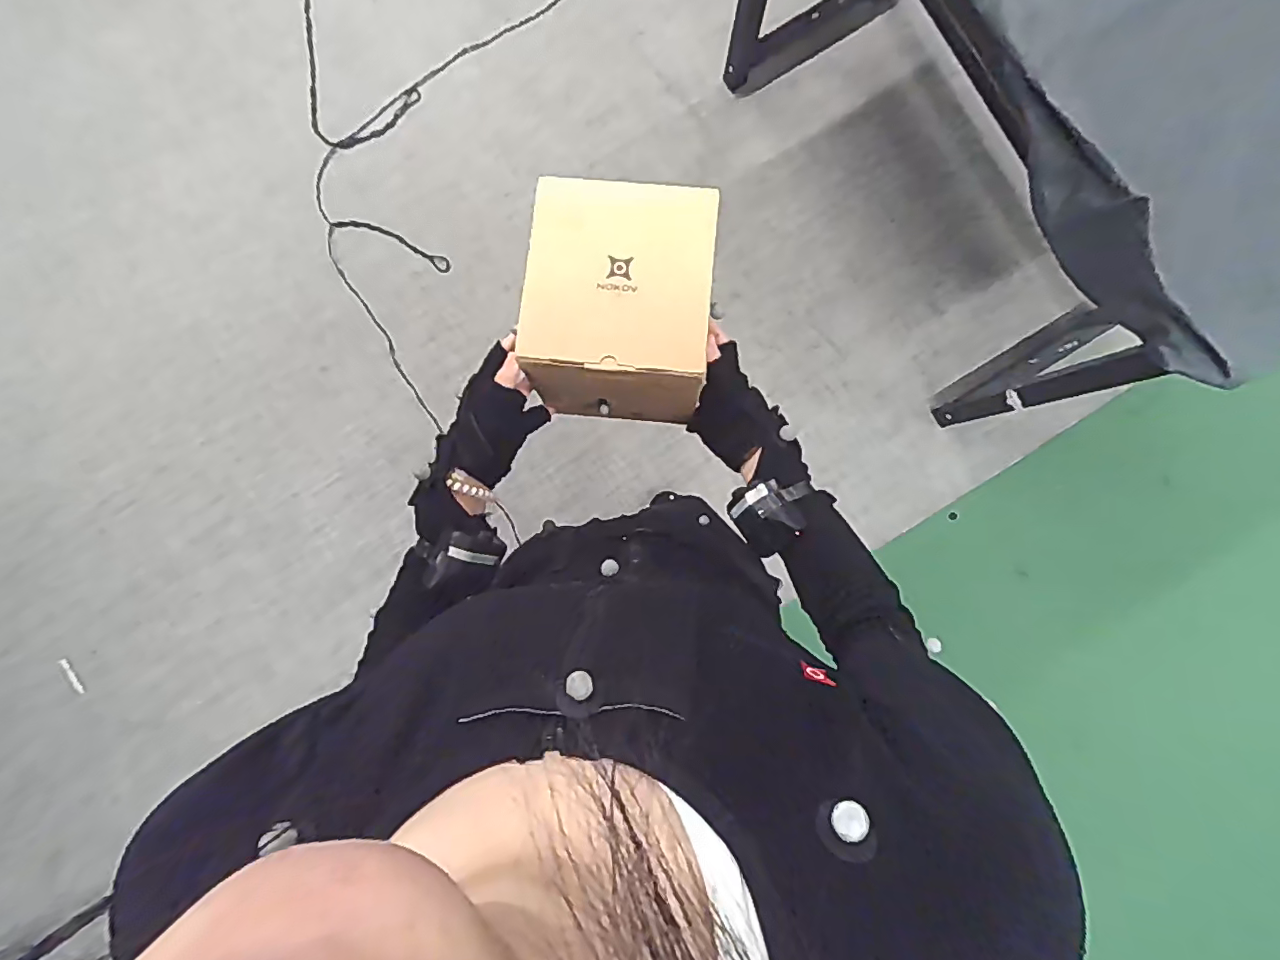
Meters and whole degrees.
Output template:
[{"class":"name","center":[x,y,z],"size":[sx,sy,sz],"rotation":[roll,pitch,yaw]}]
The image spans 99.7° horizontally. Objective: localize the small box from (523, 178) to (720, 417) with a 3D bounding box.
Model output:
[{"class":"small box","center":[-0.015,-0.176,0.566],"size":[0.168,0.176,0.179],"rotation":[5,83,1]}]
